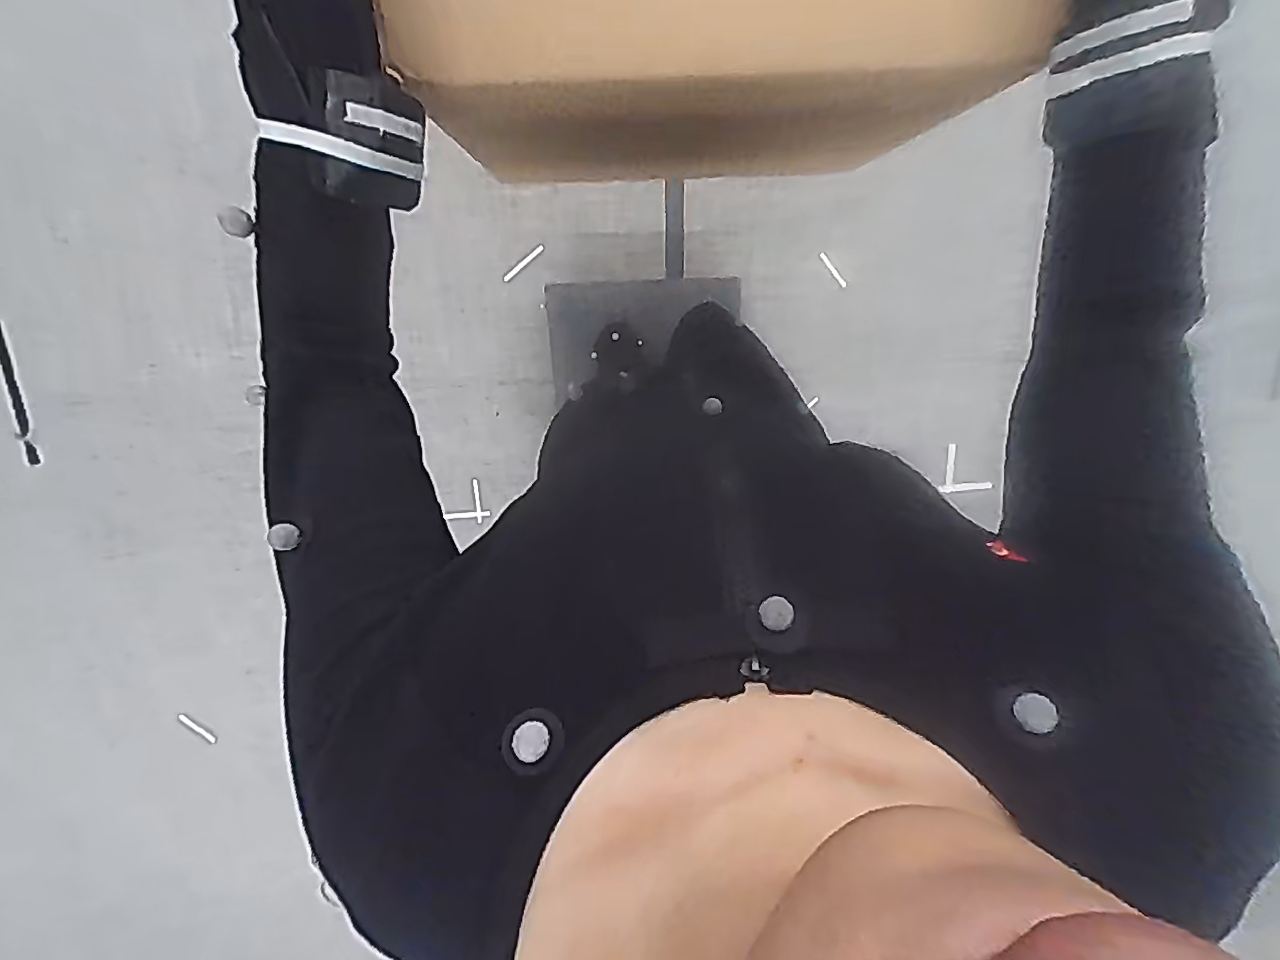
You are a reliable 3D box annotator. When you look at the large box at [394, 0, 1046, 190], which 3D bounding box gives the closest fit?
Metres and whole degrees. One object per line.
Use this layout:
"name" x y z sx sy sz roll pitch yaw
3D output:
"large box" 0.038 -0.443 0.433 0.408 0.320 0.320 -3 109 -2
